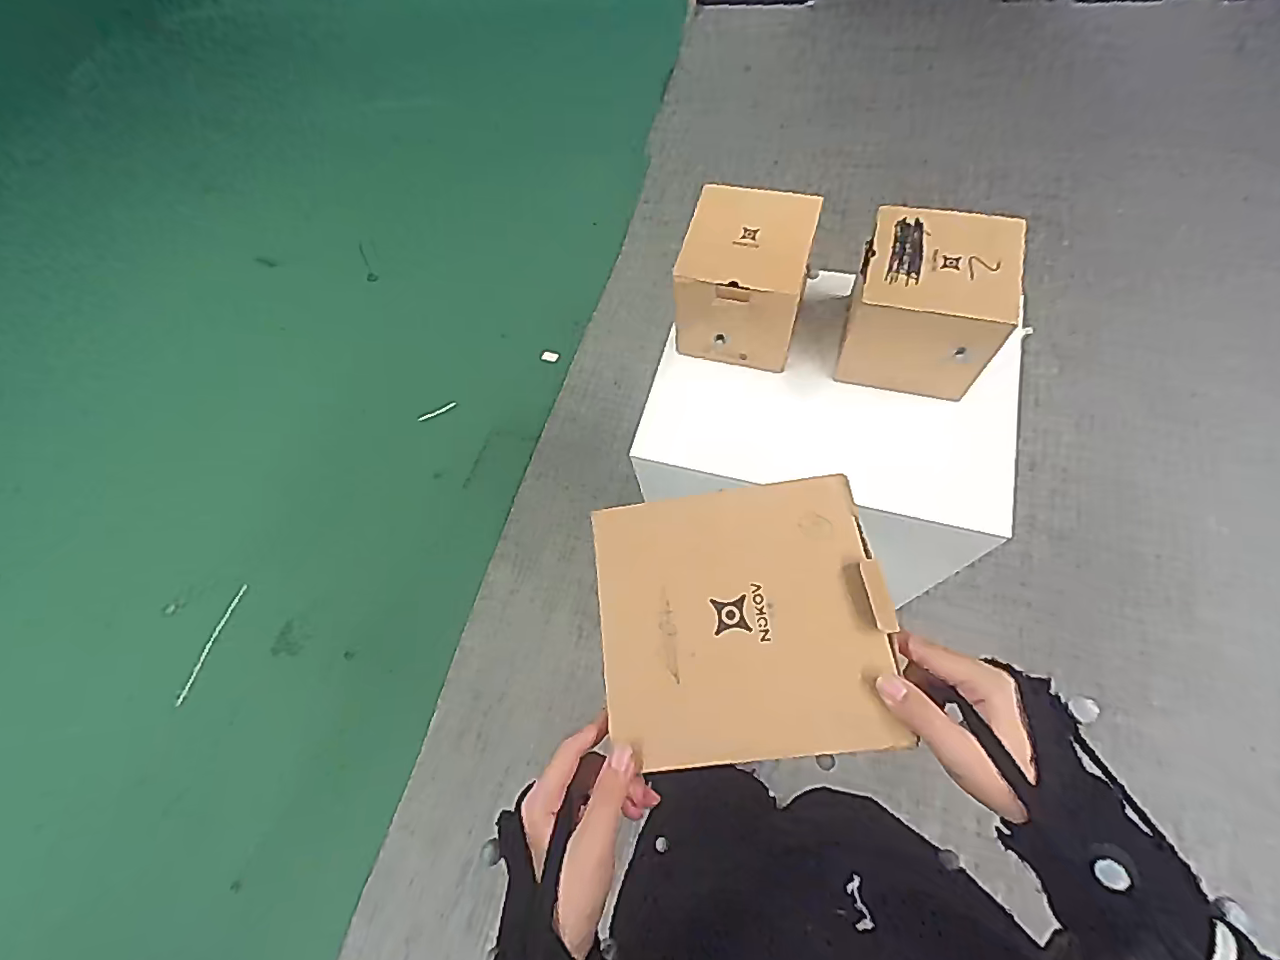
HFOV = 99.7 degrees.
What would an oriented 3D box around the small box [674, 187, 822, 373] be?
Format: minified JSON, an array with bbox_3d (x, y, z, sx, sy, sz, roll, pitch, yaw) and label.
[{"bbox_3d":[0.152,-0.286,0.788,0.168,0.176,0.179,14,69,12],"label":"small box"}]

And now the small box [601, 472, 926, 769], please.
[{"bbox_3d":[0.078,0.111,0.407,0.179,0.176,0.168,-10,66,7],"label":"small box"}]
